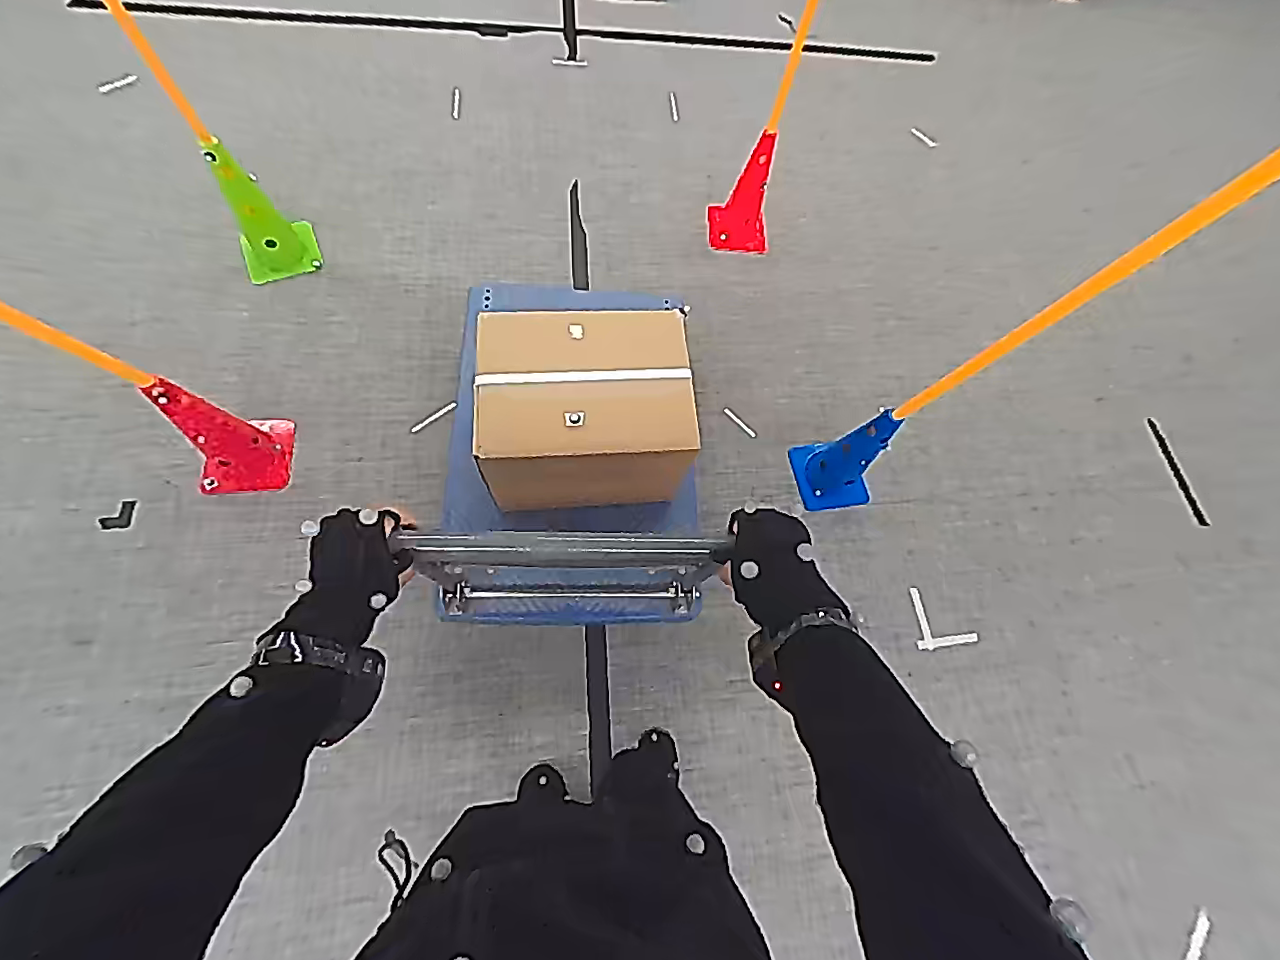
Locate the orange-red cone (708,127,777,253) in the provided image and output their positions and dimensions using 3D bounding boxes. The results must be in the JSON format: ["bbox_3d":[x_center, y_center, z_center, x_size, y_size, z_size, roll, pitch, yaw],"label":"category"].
[{"bbox_3d":[0.353,-0.924,1.691,0.199,0.360,0.198,4,68,-6],"label":"orange-red cone"}]

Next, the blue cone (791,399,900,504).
[{"bbox_3d":[0.558,-0.088,1.394,0.193,0.380,0.192,-6,68,-10],"label":"blue cone"}]
